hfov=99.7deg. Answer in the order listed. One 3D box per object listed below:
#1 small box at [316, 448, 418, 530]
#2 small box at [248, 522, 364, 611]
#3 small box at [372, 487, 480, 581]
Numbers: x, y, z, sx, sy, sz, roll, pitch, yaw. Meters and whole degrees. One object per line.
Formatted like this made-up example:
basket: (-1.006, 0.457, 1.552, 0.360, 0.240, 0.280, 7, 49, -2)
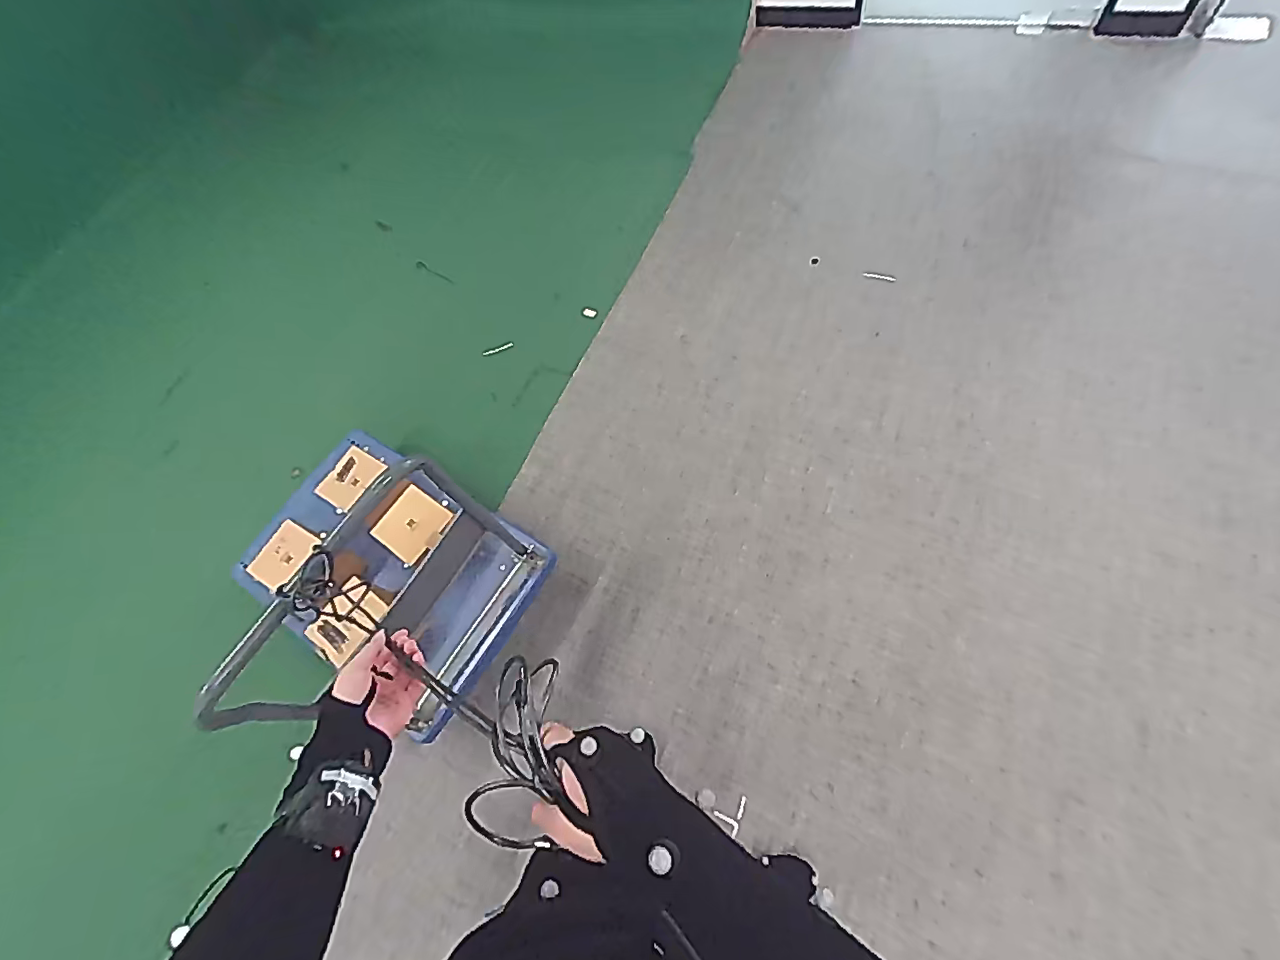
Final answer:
small box: (-0.772, 0.040, 1.559, 0.179, 0.176, 0.168, 26, 74, 21)
small box: (-0.911, 0.245, 1.494, 0.179, 0.176, 0.168, 25, 72, 21)
small box: (-0.574, 0.152, 1.469, 0.179, 0.176, 0.168, 30, 75, 22)
